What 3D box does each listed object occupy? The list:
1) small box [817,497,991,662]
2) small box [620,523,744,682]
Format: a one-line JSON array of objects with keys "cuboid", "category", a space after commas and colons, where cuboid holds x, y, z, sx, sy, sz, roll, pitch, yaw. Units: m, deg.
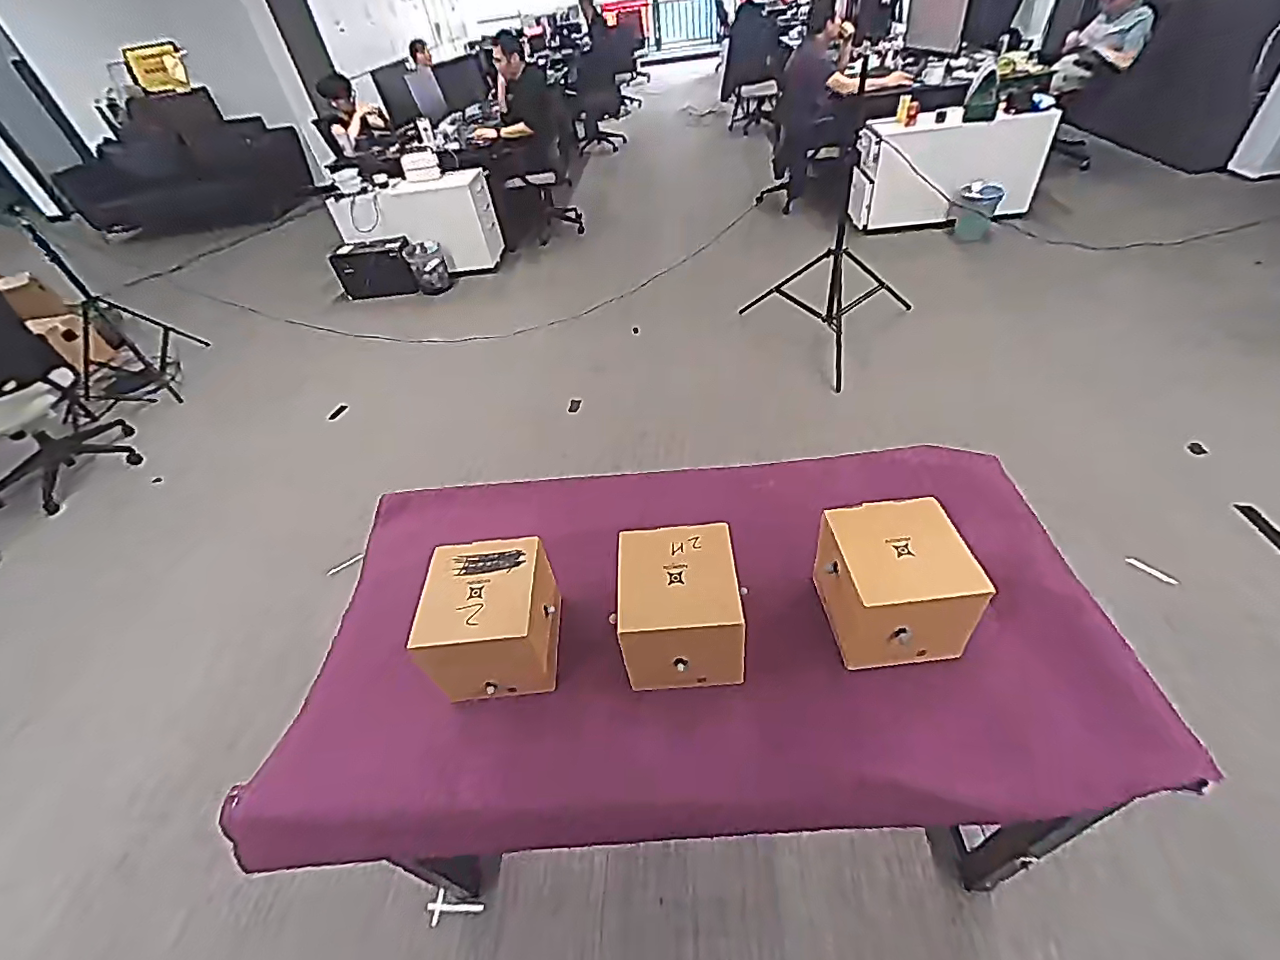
[{"cuboid": [0.371, 0.152, 0.798, 0.168, 0.176, 0.179, -8, 41, 3], "category": "small box"}, {"cuboid": [0.064, 0.189, 0.811, 0.168, 0.176, 0.179, -5, 43, 4], "category": "small box"}]
